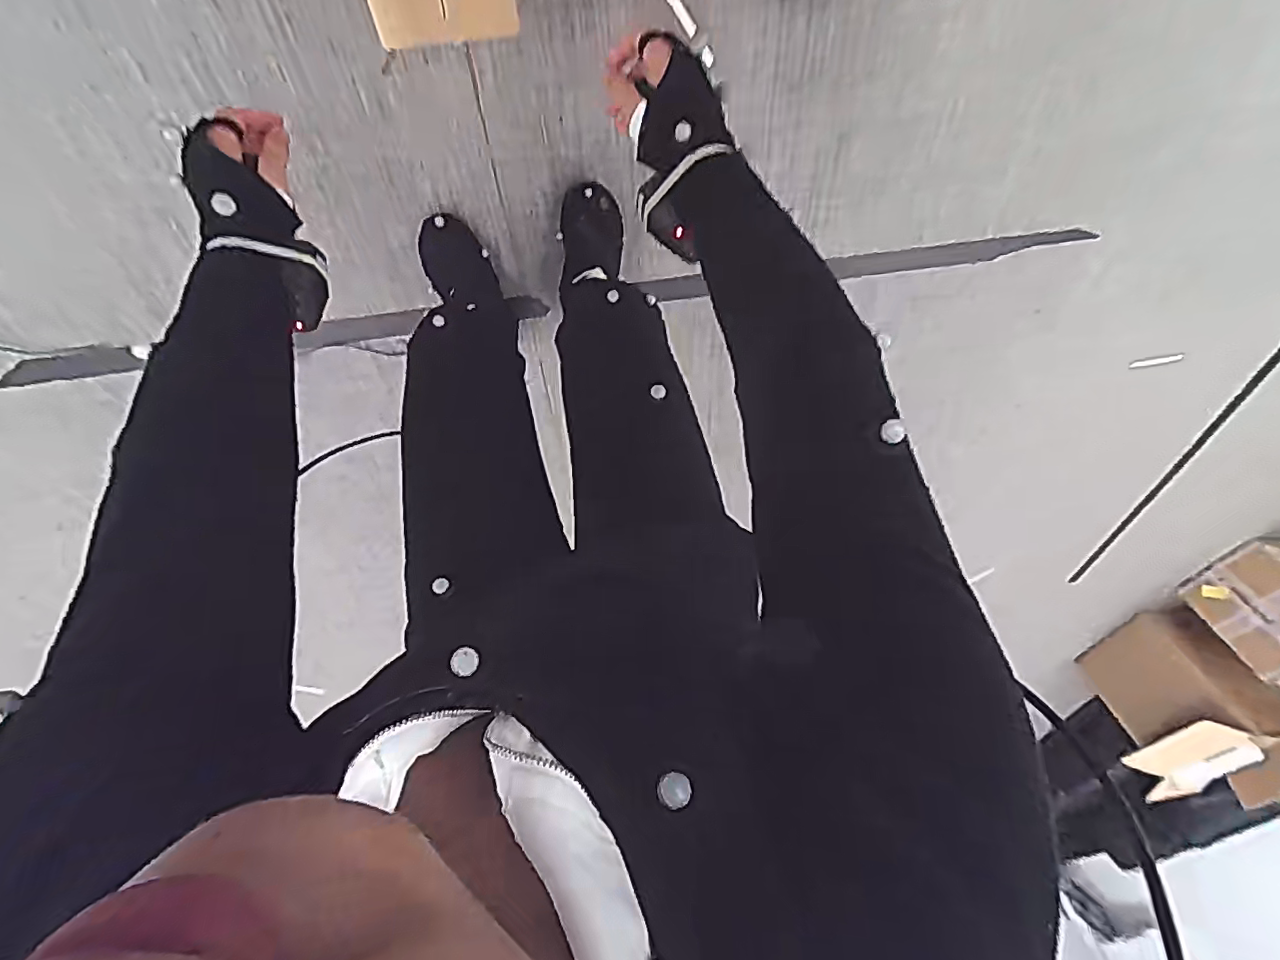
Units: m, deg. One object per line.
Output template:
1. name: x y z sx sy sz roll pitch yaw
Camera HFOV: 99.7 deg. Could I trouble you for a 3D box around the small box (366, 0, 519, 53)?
1. small box: -0.246 -0.637 0.641 0.168 0.176 0.179 -10 137 -4
